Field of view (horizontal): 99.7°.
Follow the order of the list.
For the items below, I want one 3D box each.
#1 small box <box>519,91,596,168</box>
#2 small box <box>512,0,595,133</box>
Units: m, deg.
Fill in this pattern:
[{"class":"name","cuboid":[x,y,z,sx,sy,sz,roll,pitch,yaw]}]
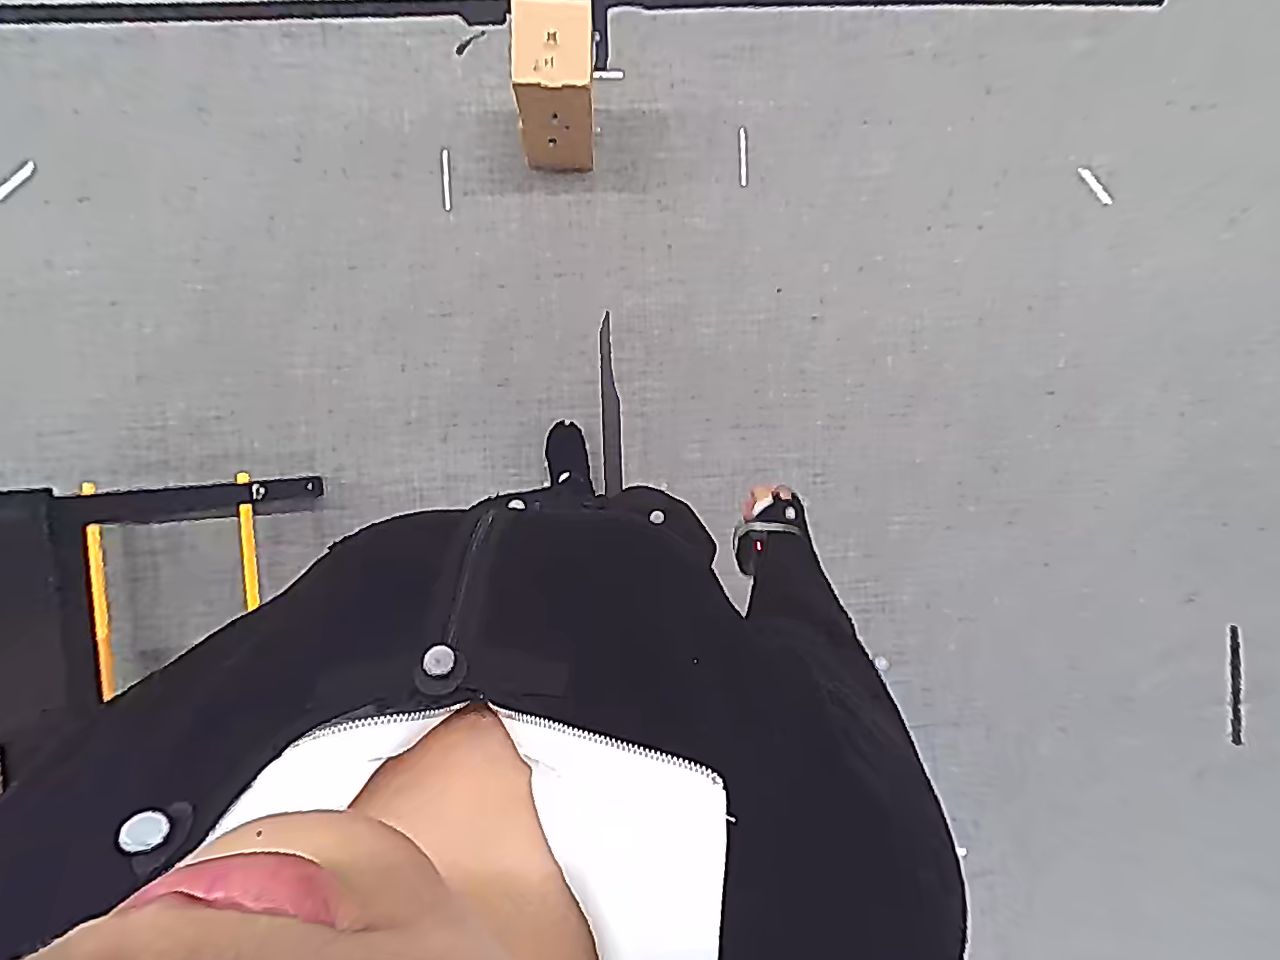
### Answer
[{"class":"small box","cuboid":[-0.203,-0.913,1.360,0.179,0.176,0.168,1,93,-4]},{"class":"small box","cuboid":[-0.186,-0.911,1.196,0.168,0.176,0.179,1,93,-3]}]
